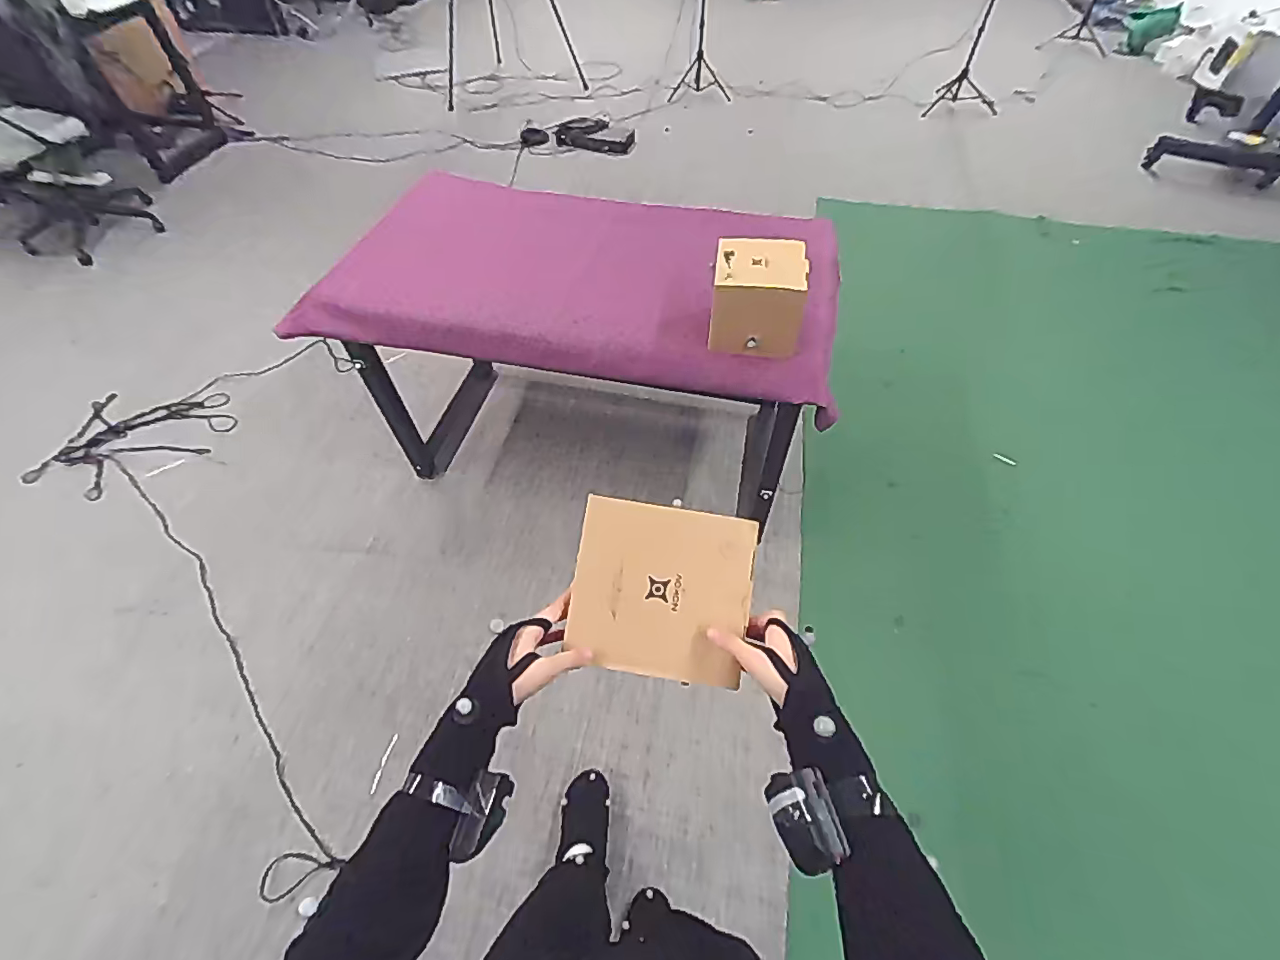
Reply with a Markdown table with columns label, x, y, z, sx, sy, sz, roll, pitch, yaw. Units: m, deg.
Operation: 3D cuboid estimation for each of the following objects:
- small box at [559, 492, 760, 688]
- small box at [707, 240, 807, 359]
| label | x | y | z | sx | sy | sz | roll | pitch | yaw |
| --- | --- | --- | --- | --- | --- | --- | --- | --- | --- |
| small box | 0.021 | 0.119 | 0.606 | 0.179 | 0.176 | 0.168 | 10 | 79 | 2 |
| small box | 0.238 | -0.369 | 1.118 | 0.179 | 0.176 | 0.168 | 6 | 54 | 6 |
